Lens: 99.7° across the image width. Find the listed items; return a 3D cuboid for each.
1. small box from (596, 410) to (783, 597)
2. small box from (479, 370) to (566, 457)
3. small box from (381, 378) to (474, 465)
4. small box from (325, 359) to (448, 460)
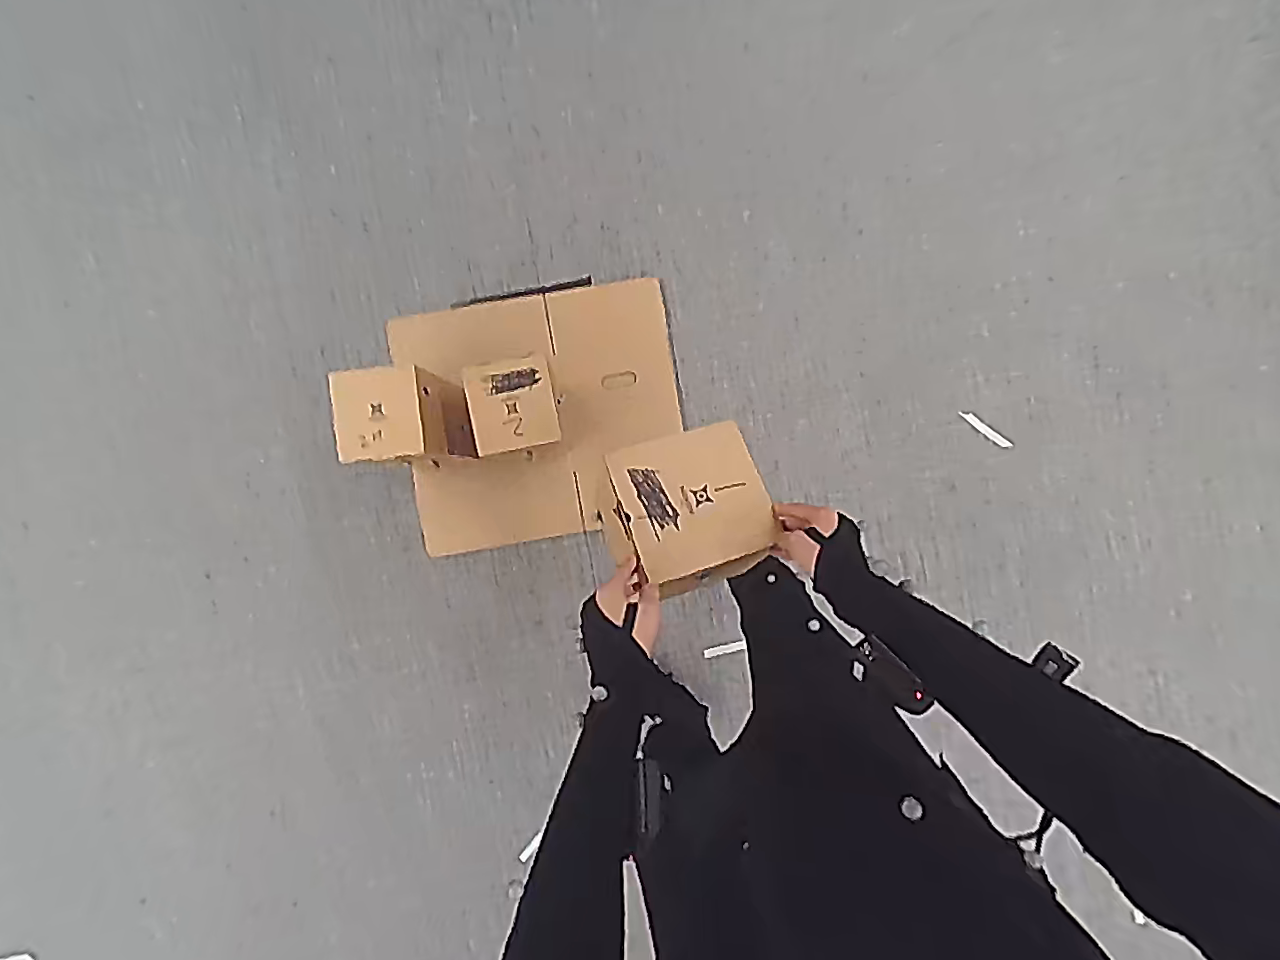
[{"bbox_3d":[0.047,0.038,0.692,0.179,0.176,0.168,-16,71,-15],"label":"small box"},{"bbox_3d":[-0.270,-0.151,1.270,0.168,0.176,0.179,-6,91,-2],"label":"small box"},{"bbox_3d":[-0.499,-0.133,1.262,0.168,0.176,0.179,-7,92,-1],"label":"small box"},{"bbox_3d":[-0.505,-0.135,1.097,0.168,0.176,0.179,-7,92,-1],"label":"small box"}]
